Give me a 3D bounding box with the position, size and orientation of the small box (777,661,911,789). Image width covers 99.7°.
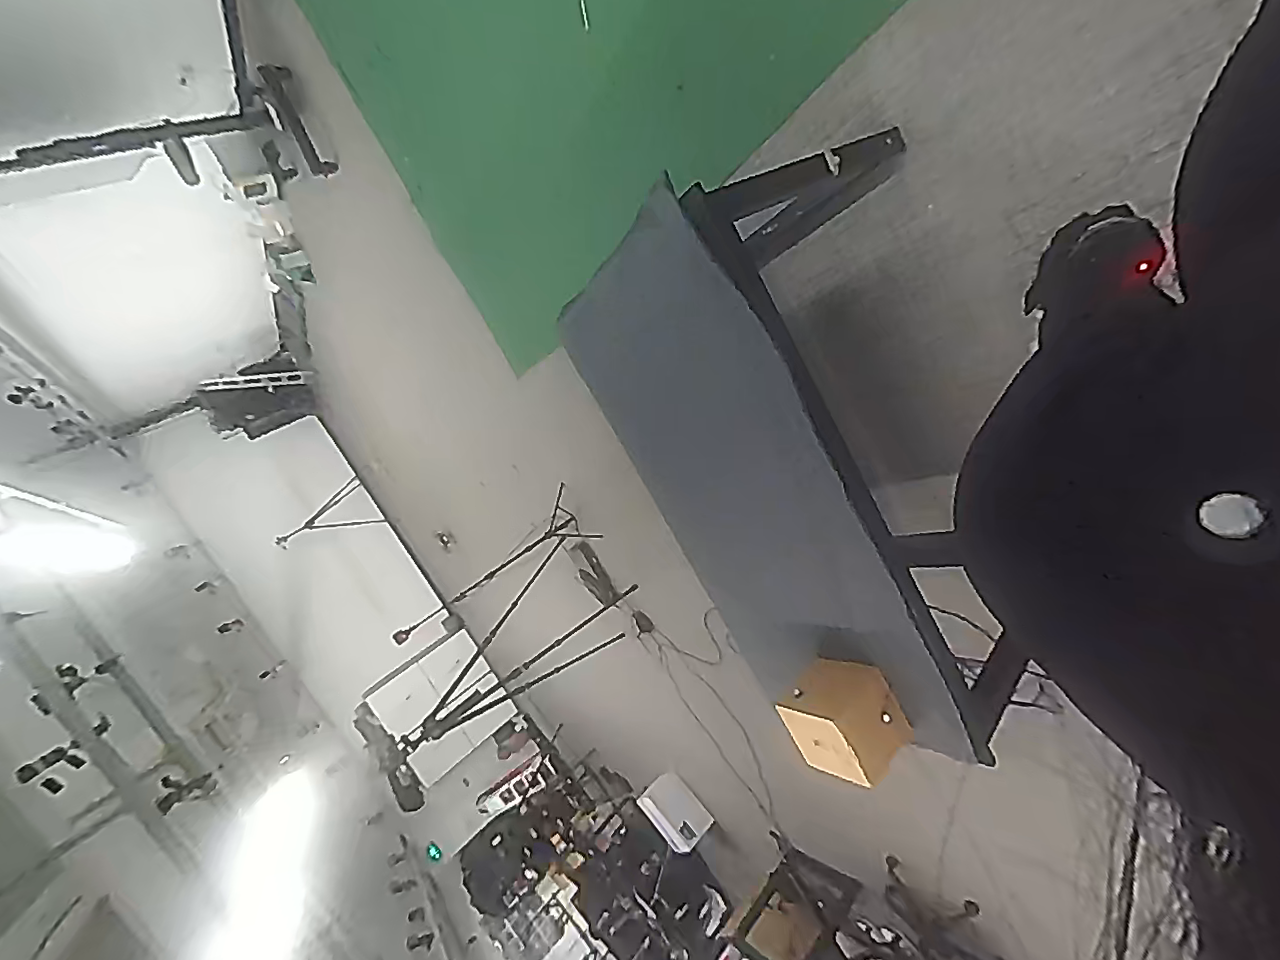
[{"bbox_3d":[0.440,0.515,1.167,0.168,0.176,0.179,60,150,-6],"label":"small box"}]
